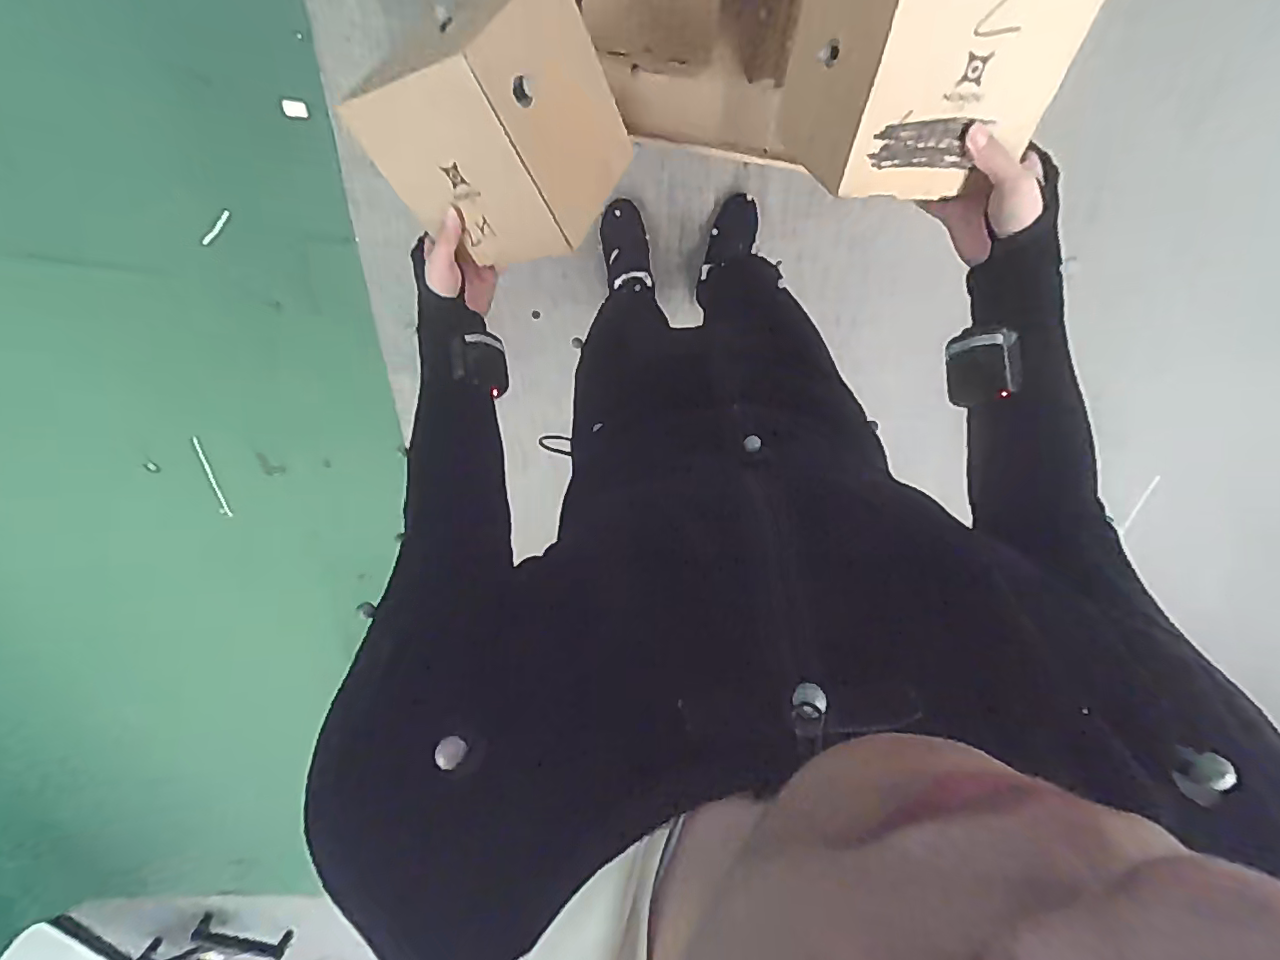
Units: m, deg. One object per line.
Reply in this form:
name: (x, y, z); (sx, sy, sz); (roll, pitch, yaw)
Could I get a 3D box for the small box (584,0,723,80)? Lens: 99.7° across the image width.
small box: (0.016, -0.633, 0.687); (0.168, 0.176, 0.179); (3, 122, -4)

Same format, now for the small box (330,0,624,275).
small box: (-0.140, -0.331, 0.522); (0.168, 0.176, 0.179); (6, 152, 30)

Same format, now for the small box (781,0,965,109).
small box: (0.298, -0.604, 0.708); (0.168, 0.176, 0.179); (6, 122, -6)
